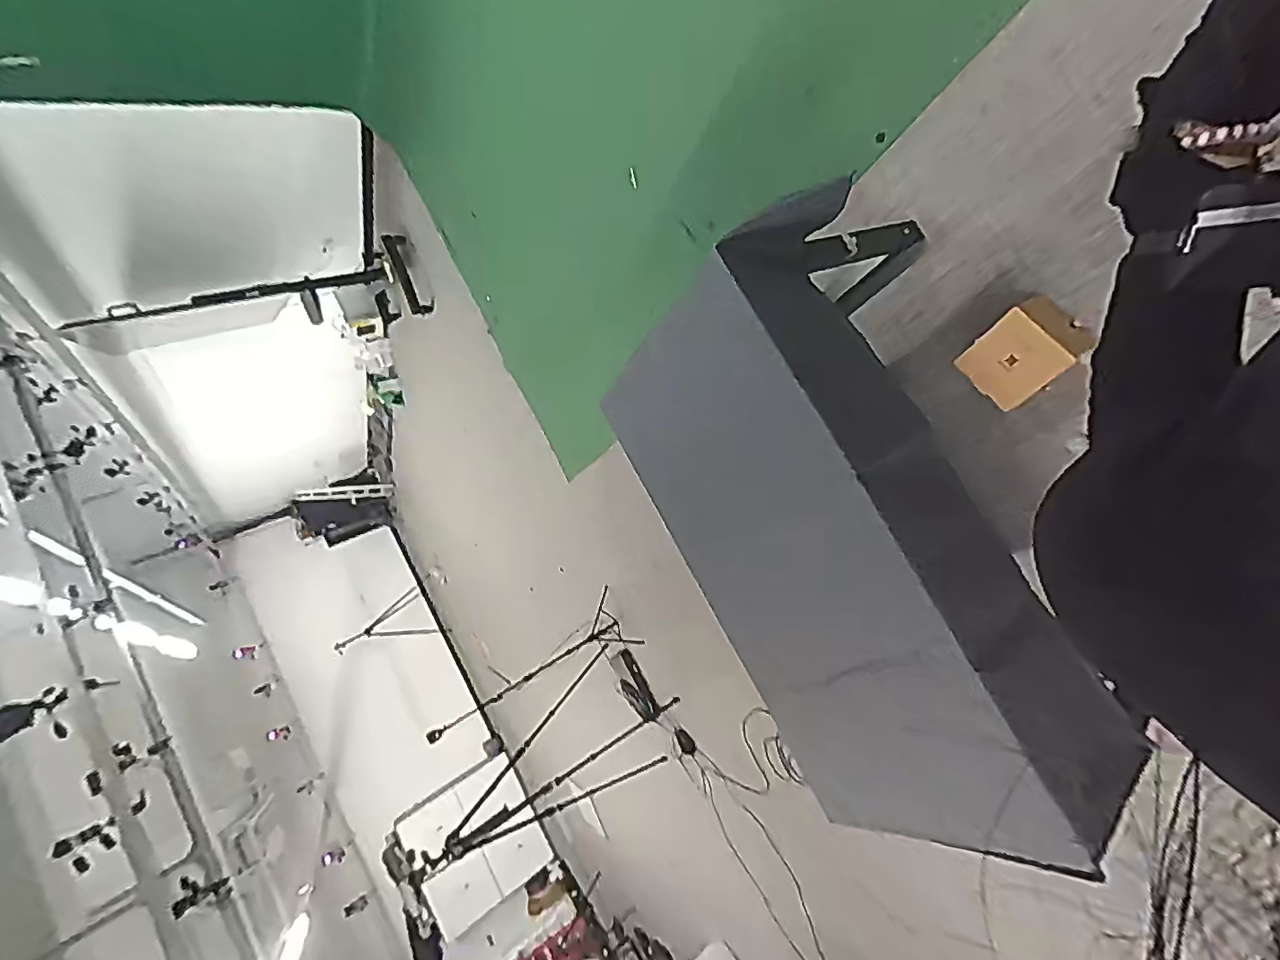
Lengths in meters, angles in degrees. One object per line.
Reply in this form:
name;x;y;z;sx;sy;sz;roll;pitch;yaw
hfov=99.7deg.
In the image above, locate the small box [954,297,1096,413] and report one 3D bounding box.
small box;0.872;-0.285;1.227;0.168;0.176;0.179;54;147;17
